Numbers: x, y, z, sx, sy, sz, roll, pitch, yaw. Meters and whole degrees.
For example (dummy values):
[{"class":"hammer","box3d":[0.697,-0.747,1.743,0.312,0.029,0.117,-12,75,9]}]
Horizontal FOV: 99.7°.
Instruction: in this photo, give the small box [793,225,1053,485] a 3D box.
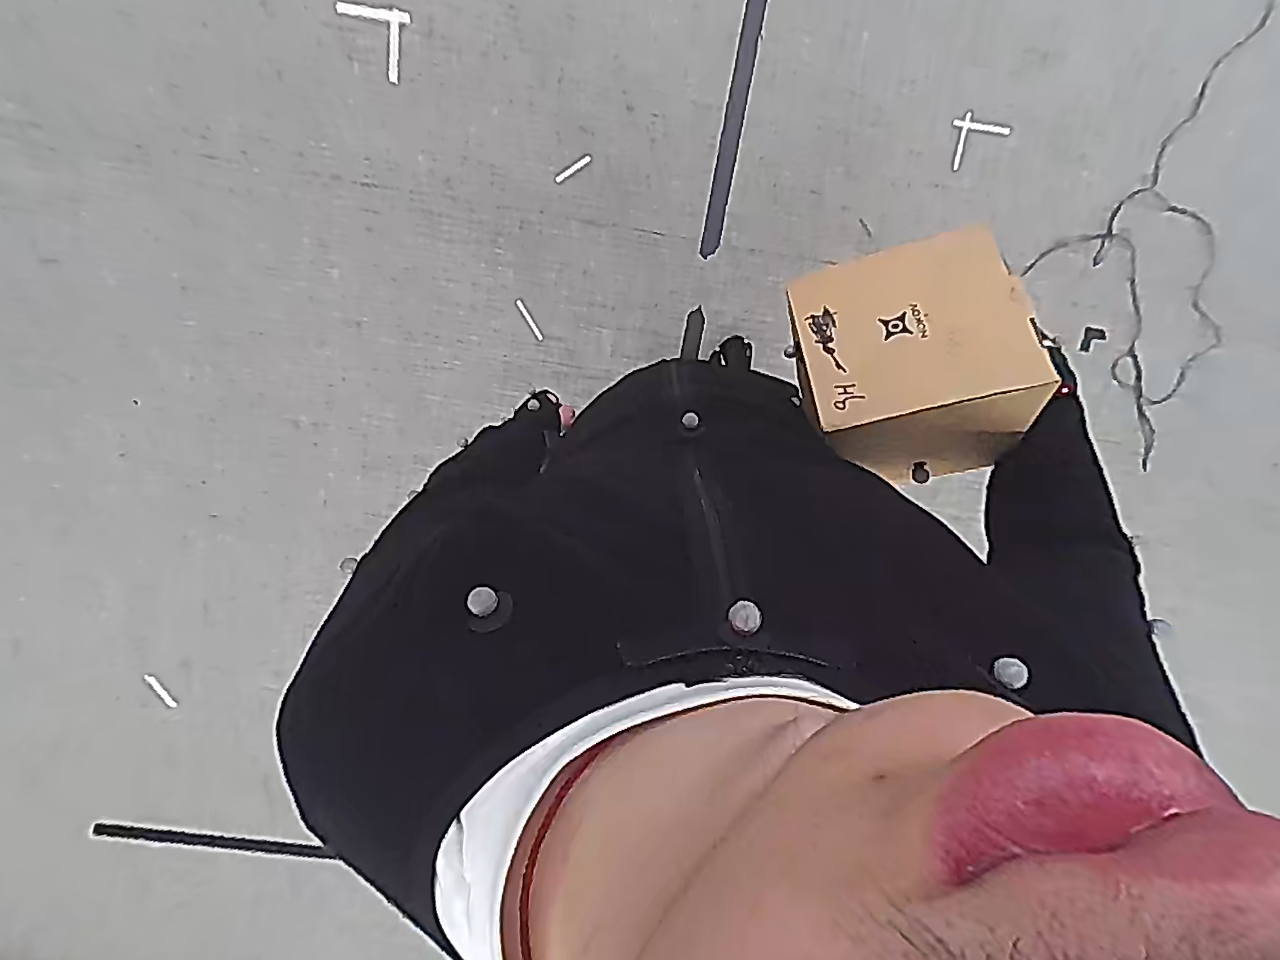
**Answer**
[{"class":"small box","box3d":[0.259,-0.110,0.542,0.179,0.176,0.168,-12,64,15]}]
